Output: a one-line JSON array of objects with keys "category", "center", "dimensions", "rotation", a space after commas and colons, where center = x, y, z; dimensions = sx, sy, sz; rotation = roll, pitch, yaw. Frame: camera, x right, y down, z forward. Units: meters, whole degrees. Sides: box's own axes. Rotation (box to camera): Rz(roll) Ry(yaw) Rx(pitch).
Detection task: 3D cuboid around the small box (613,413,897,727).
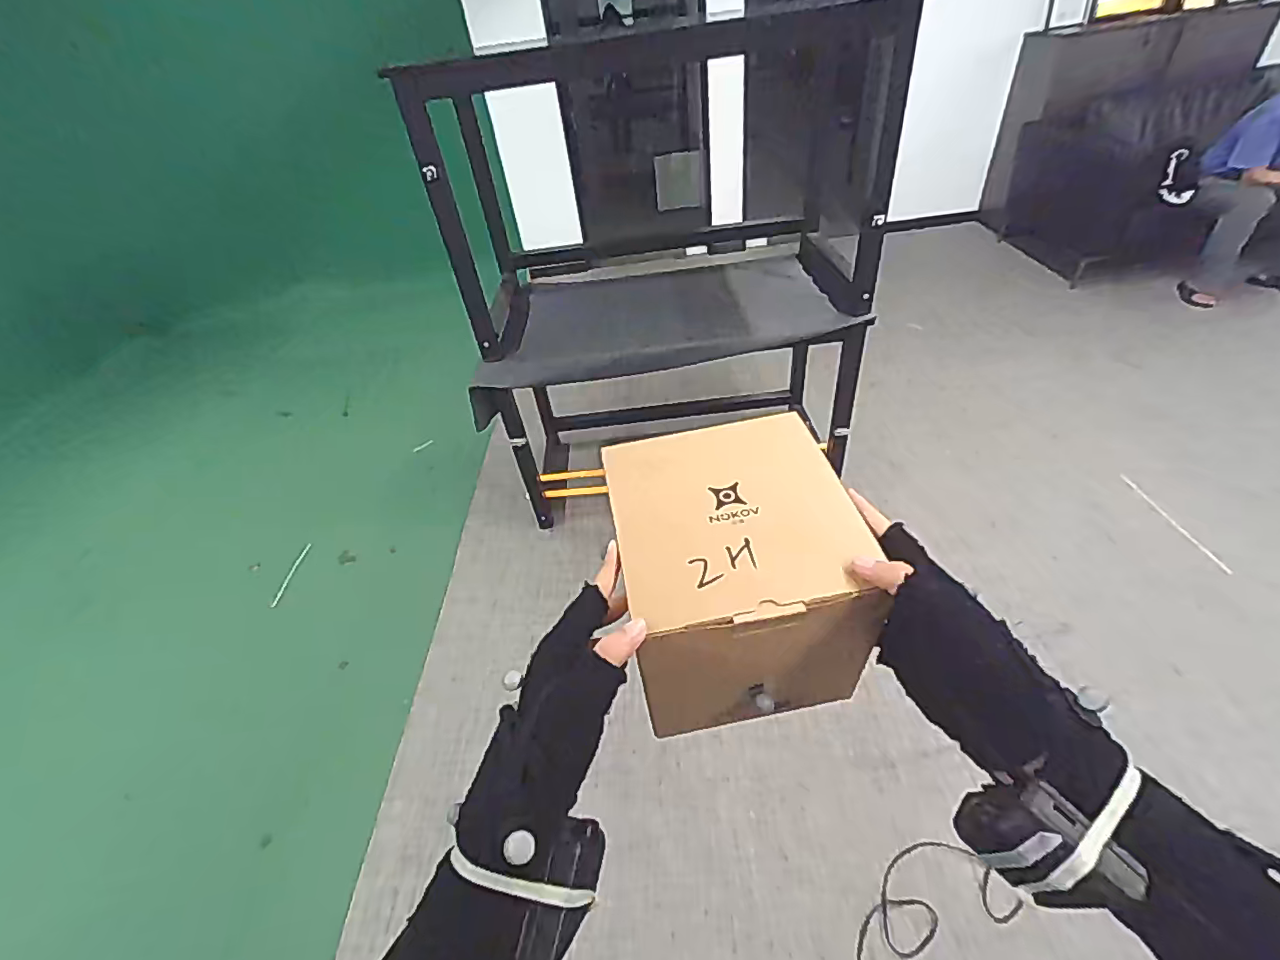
[{"category": "small box", "center": [0.075, 0.072, 0.445], "dimensions": [0.168, 0.176, 0.179], "rotation": [-10, 44, -2]}]
